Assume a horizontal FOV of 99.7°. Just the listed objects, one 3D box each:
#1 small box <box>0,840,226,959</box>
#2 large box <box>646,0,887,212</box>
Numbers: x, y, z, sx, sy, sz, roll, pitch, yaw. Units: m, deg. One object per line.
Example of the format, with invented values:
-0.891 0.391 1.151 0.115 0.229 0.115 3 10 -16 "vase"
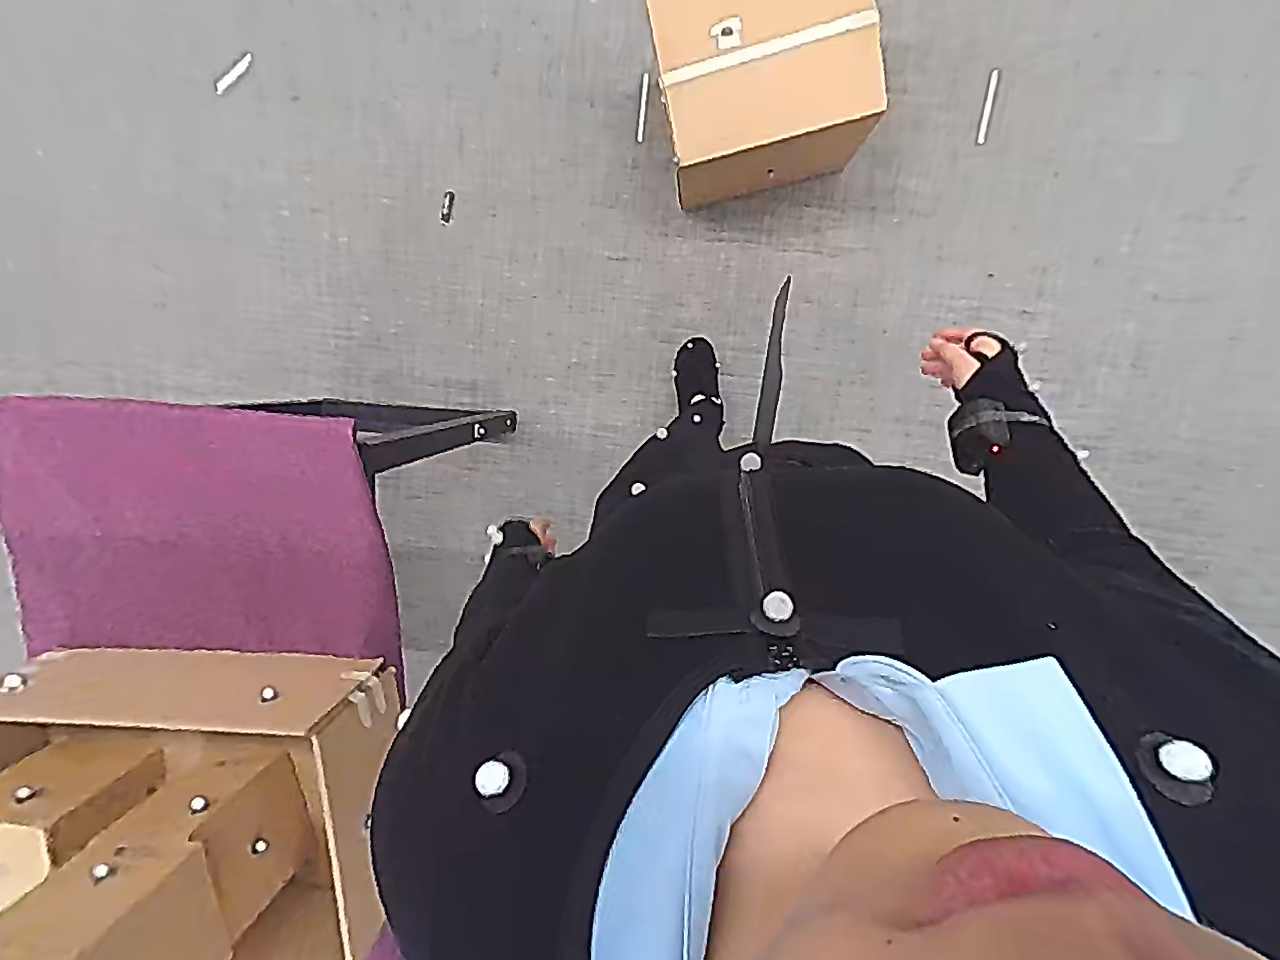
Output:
-0.634 0.567 0.632 0.168 0.176 0.179 -5 99 9 "small box"
0.255 -0.824 1.156 0.408 0.320 0.320 -11 99 9 "large box"
